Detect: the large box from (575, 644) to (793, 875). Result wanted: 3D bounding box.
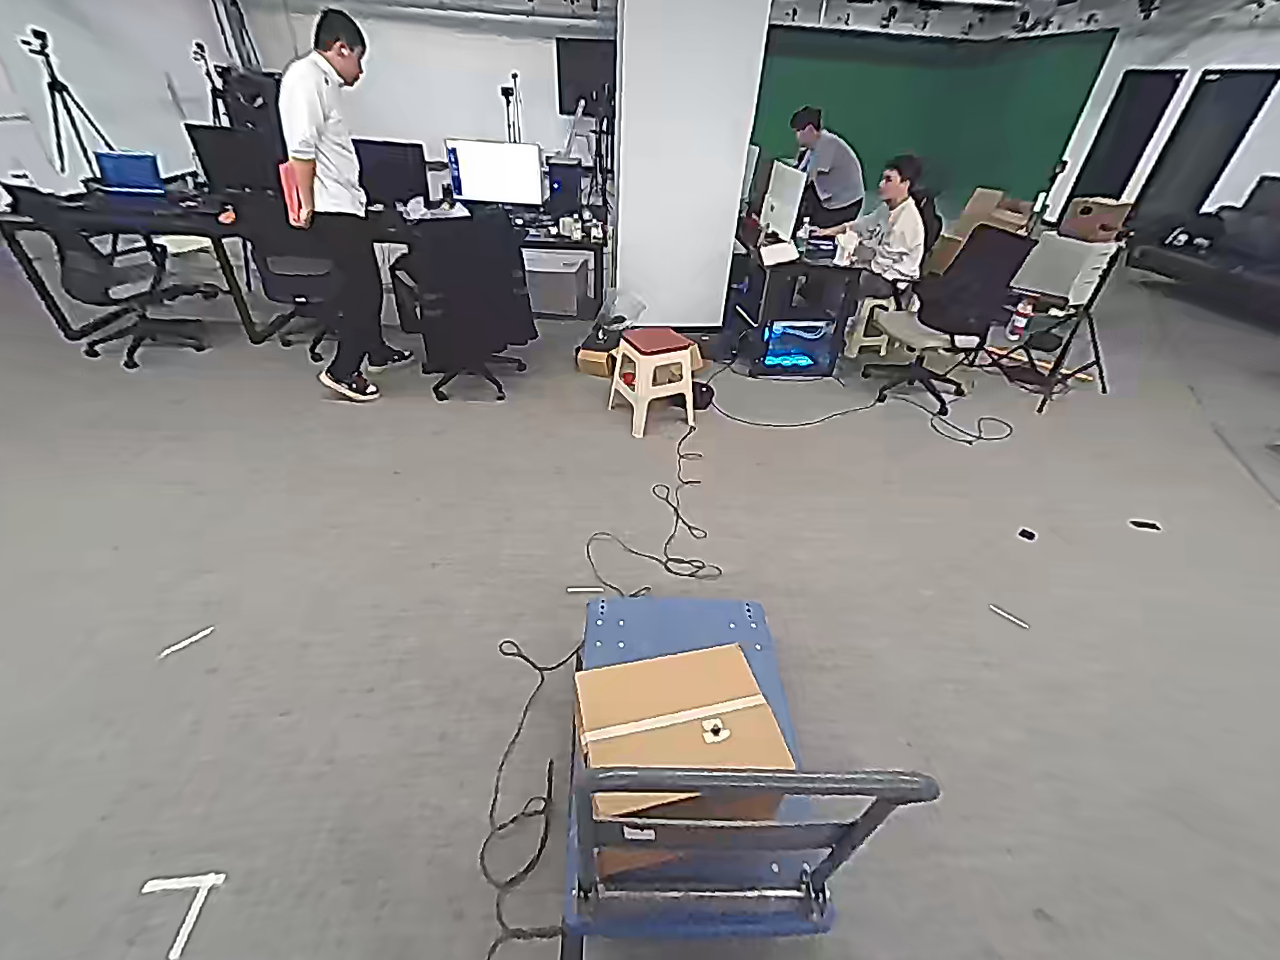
[{"bbox_3d":[0.073,0.629,1.244,0.408,0.320,0.320,-6,38,-14],"label":"large box"}]
